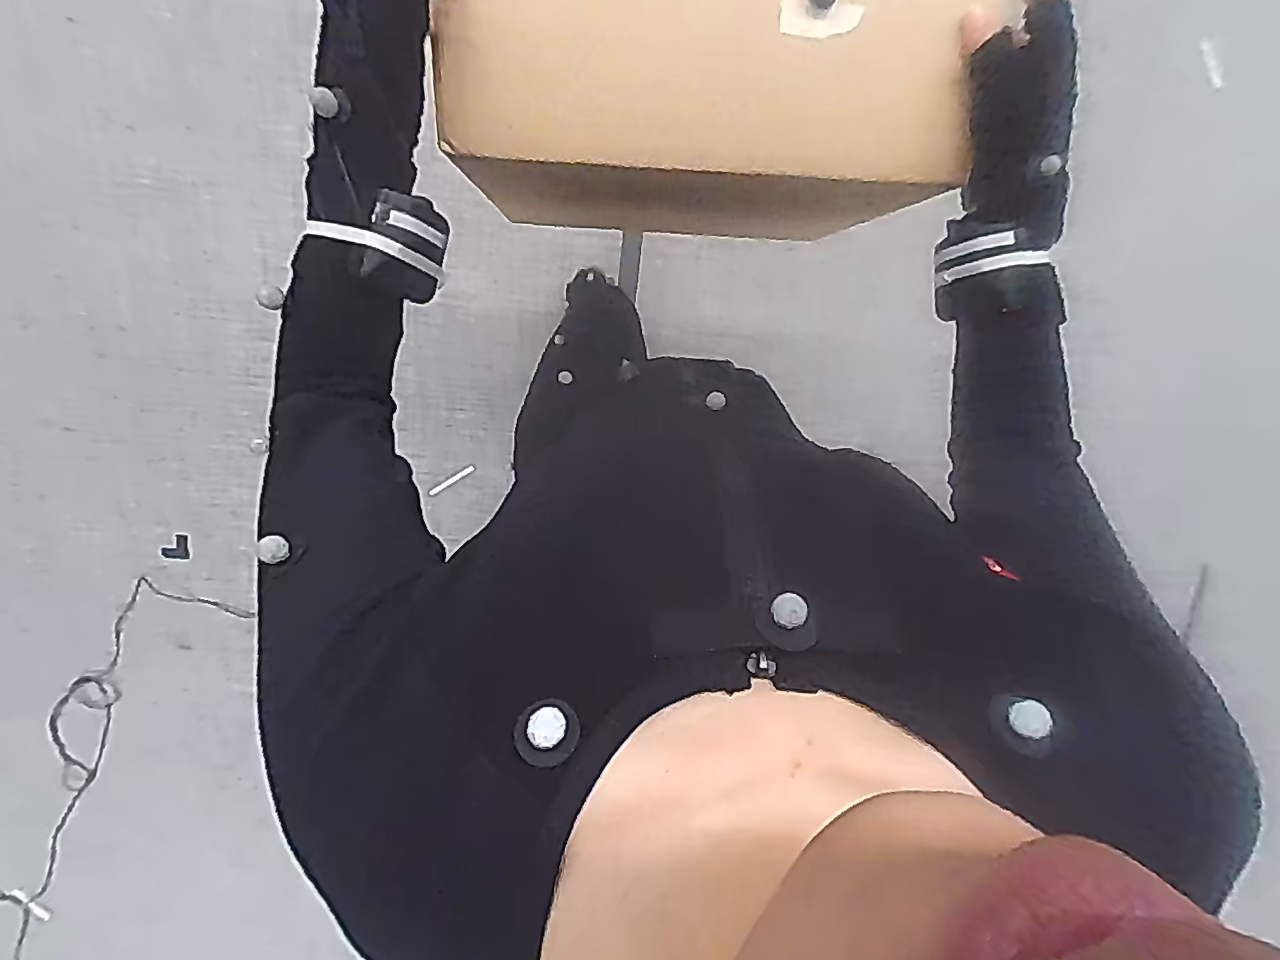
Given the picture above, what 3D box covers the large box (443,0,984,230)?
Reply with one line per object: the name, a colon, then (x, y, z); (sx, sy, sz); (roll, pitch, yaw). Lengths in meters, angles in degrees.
large box: (0.046, -0.435, 0.519); (0.408, 0.320, 0.320); (0, 107, -5)
